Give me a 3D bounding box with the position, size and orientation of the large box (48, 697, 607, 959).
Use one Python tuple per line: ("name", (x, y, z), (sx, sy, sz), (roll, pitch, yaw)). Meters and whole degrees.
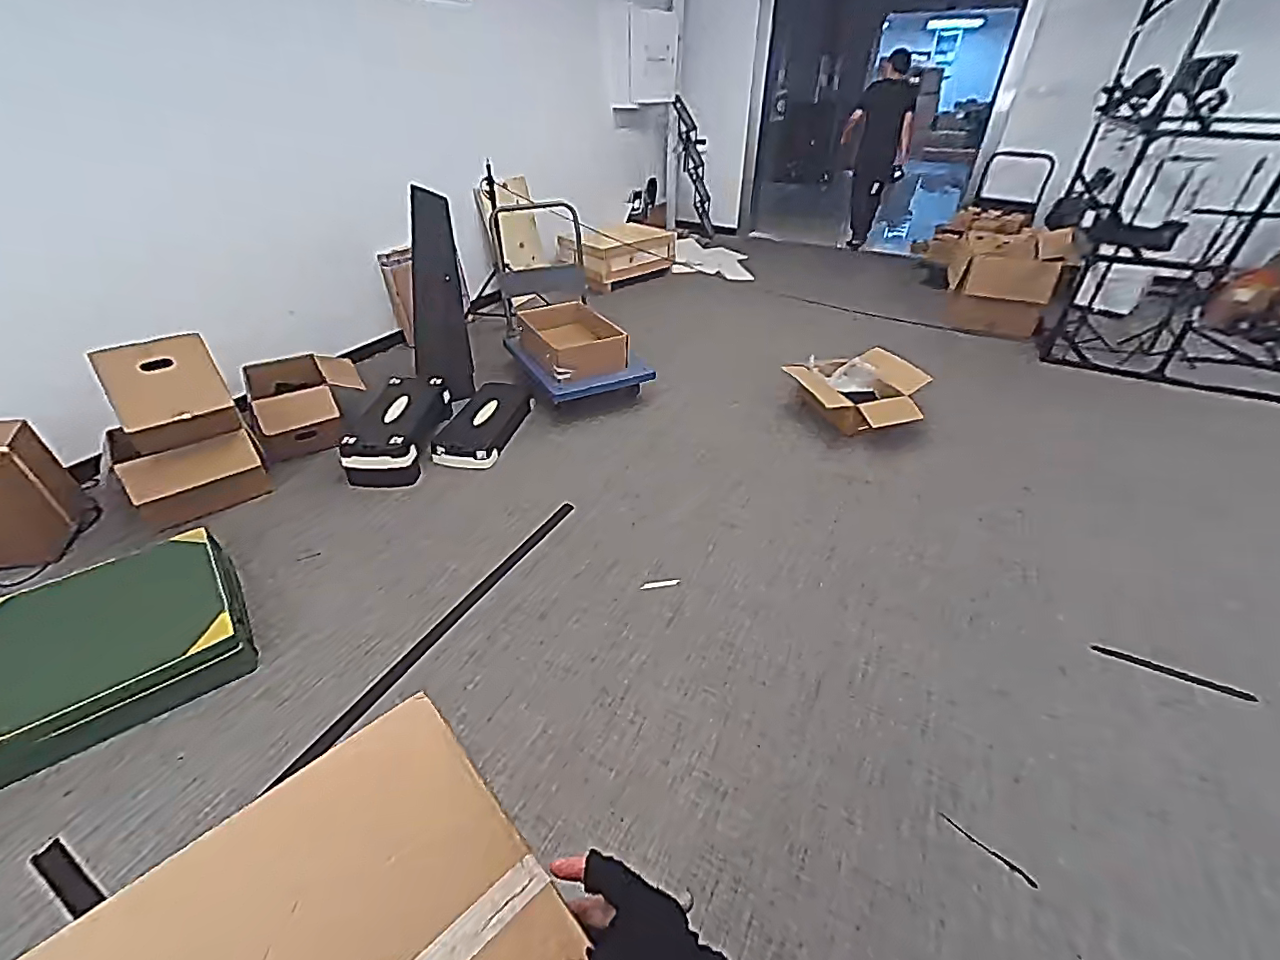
("large box", (-0.222, 0.448, 0.361), (0.408, 0.320, 0.320), (-31, 57, -31))
